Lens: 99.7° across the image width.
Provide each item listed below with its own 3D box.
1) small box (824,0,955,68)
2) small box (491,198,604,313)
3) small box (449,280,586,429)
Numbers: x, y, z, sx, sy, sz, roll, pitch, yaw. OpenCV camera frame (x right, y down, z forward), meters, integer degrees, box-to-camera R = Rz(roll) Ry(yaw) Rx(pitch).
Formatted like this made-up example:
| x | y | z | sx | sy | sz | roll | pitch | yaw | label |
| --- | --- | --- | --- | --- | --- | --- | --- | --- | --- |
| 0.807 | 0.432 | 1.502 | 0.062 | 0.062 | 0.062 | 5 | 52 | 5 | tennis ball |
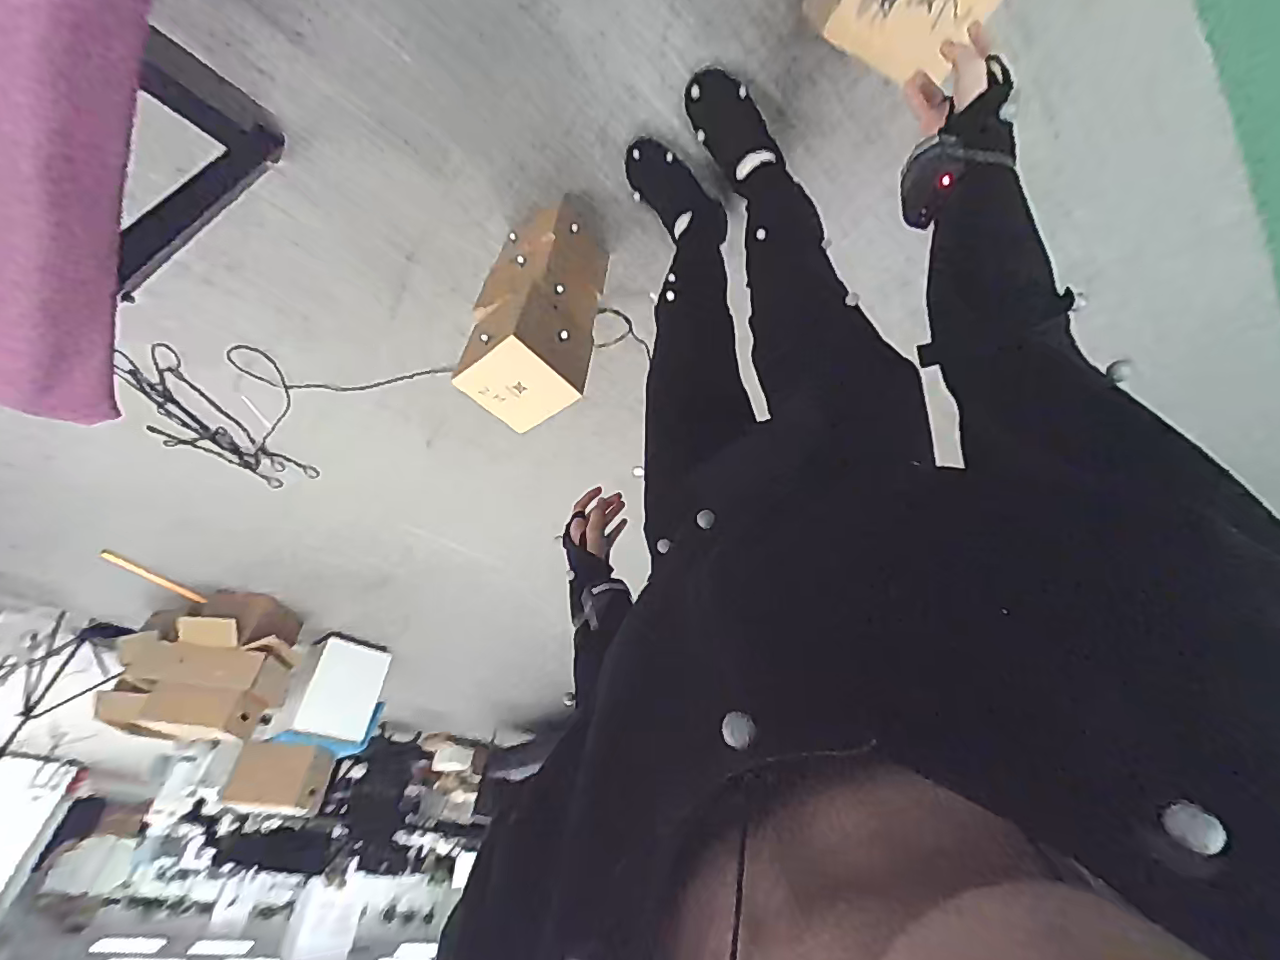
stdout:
| x | y | z | sx | sy | sz | roll | pitch | yaw | label |
| --- | --- | --- | --- | --- | --- | --- | --- | --- | --- |
| 0.357 | -0.765 | 0.790 | 0.179 | 0.176 | 0.168 | -22 | 135 | 31 | small box |
| -0.197 | -0.489 | 1.196 | 0.168 | 0.176 | 0.179 | -18 | 138 | 27 | small box |
| -0.216 | -0.231 | 0.997 | 0.179 | 0.176 | 0.168 | -23 | 133 | 32 | small box |
